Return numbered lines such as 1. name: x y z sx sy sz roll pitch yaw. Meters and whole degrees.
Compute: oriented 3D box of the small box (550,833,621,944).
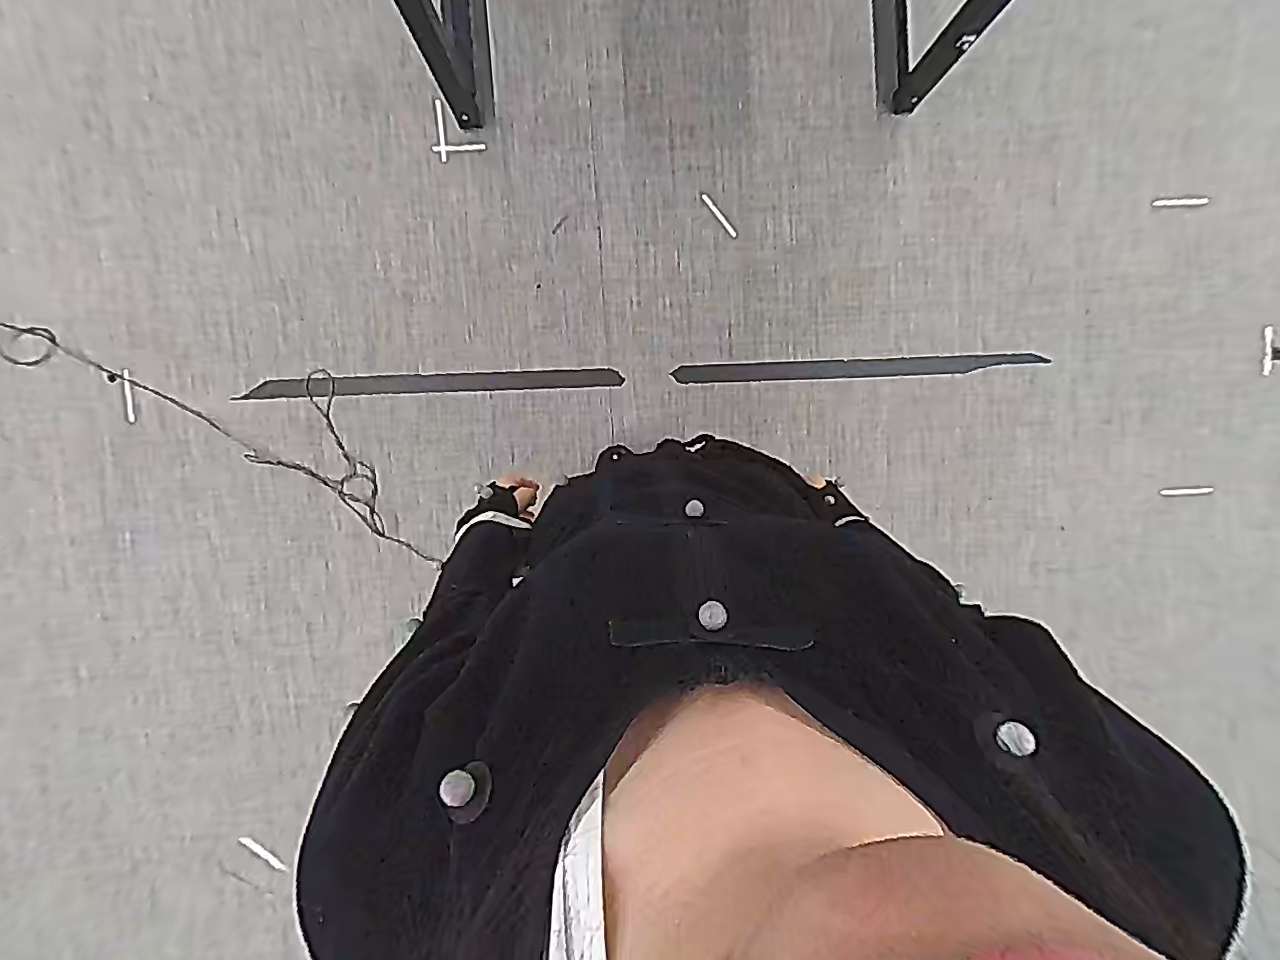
1. small box: -0.146 1.110 1.489 0.168 0.176 0.179 -9 96 -2
